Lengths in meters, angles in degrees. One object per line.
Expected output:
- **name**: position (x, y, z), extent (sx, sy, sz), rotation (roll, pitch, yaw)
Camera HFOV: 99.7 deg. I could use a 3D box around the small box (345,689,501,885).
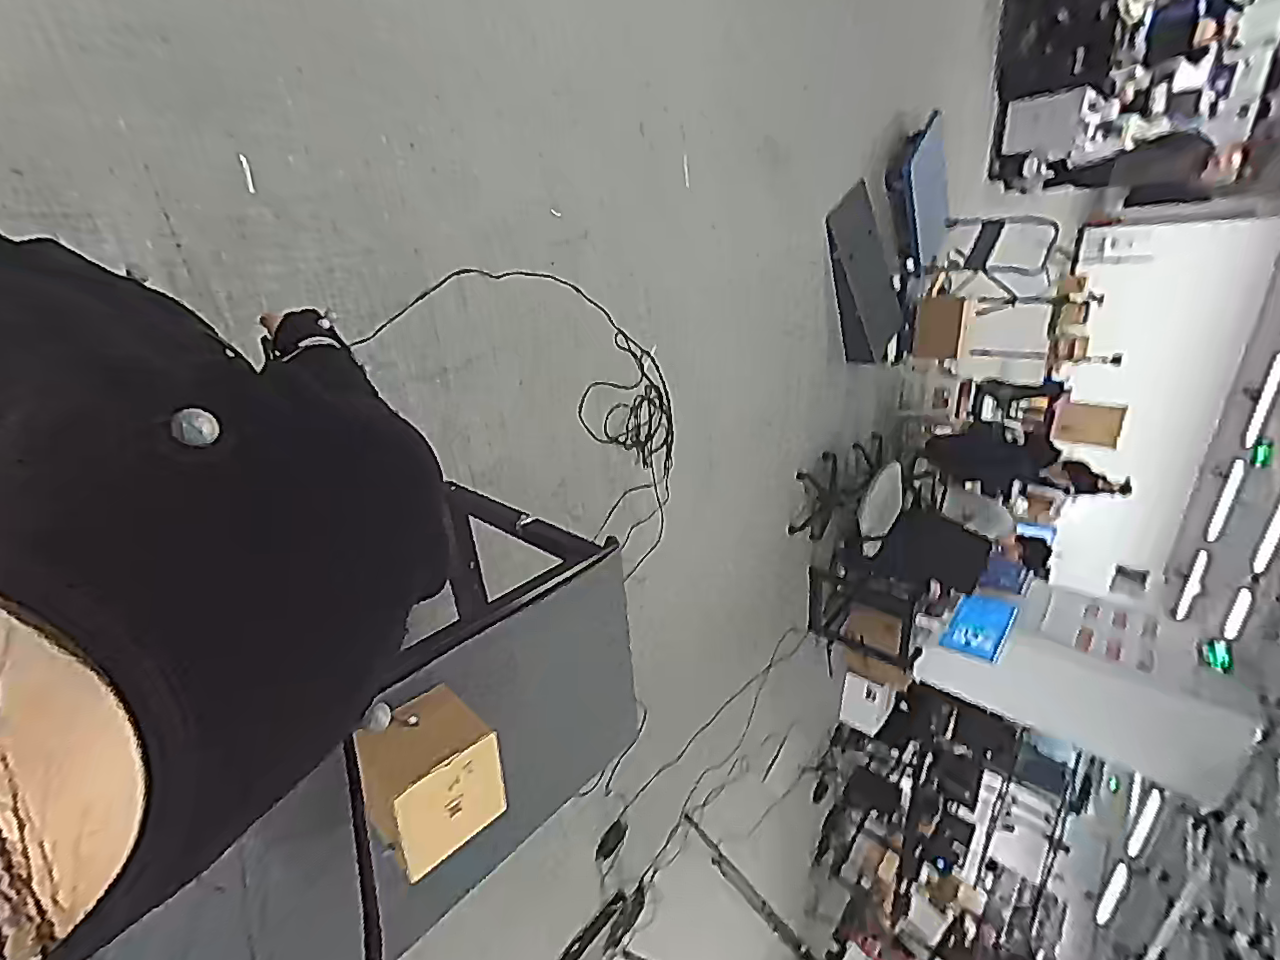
- **small box**: position (-0.346, 0.478, 0.870), extent (0.168, 0.176, 0.179), rotation (-22, 118, -44)
